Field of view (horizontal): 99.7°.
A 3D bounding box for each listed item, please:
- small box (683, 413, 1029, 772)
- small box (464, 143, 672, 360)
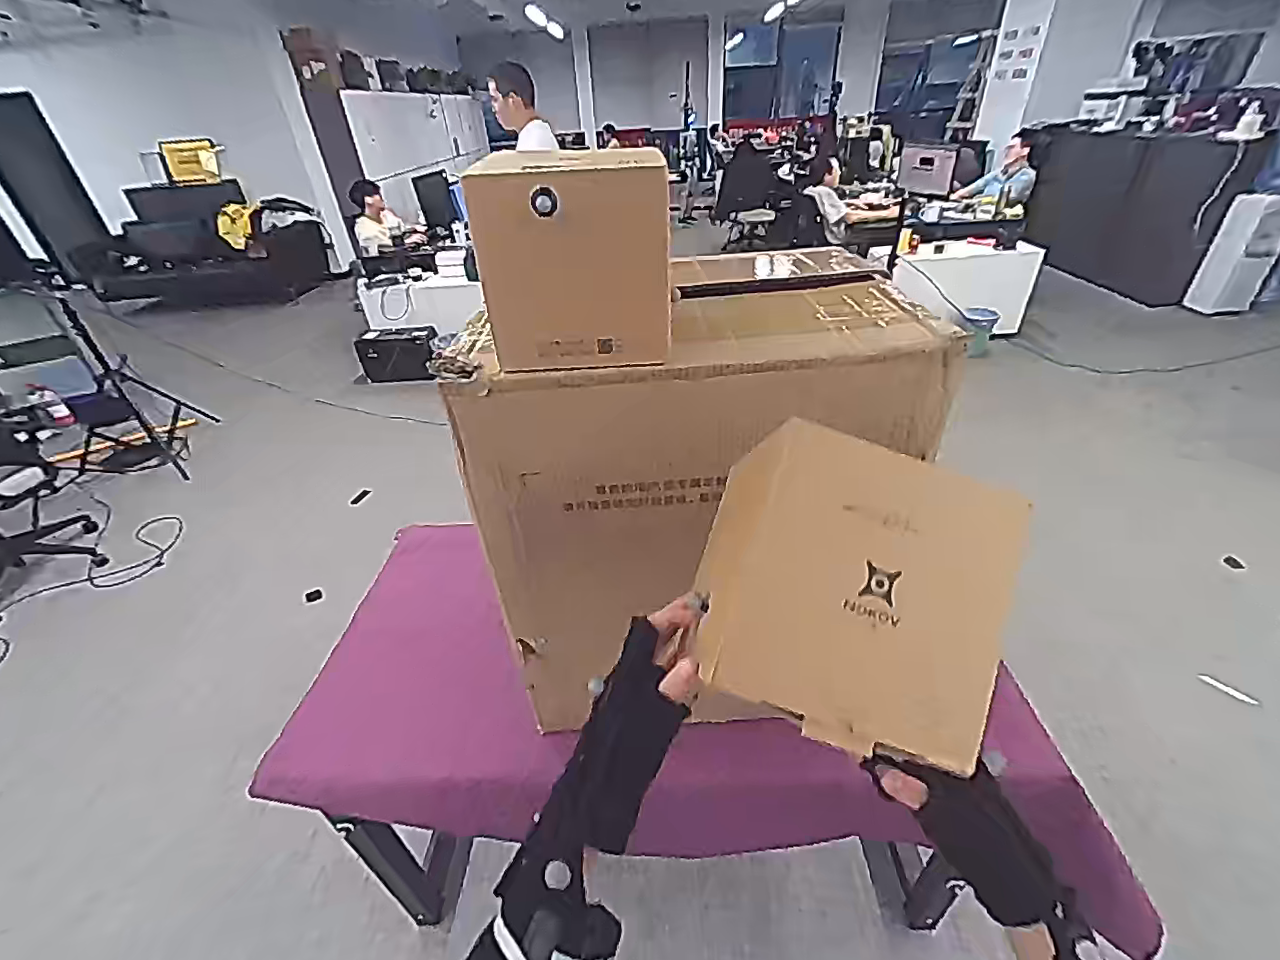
[{"bbox_3d":[0.138,0.077,0.405,0.168,0.176,0.179,19,79,-1],"label":"small box"},{"bbox_3d":[-0.056,-0.228,0.533,0.168,0.176,0.179,-3,35,0],"label":"small box"}]
